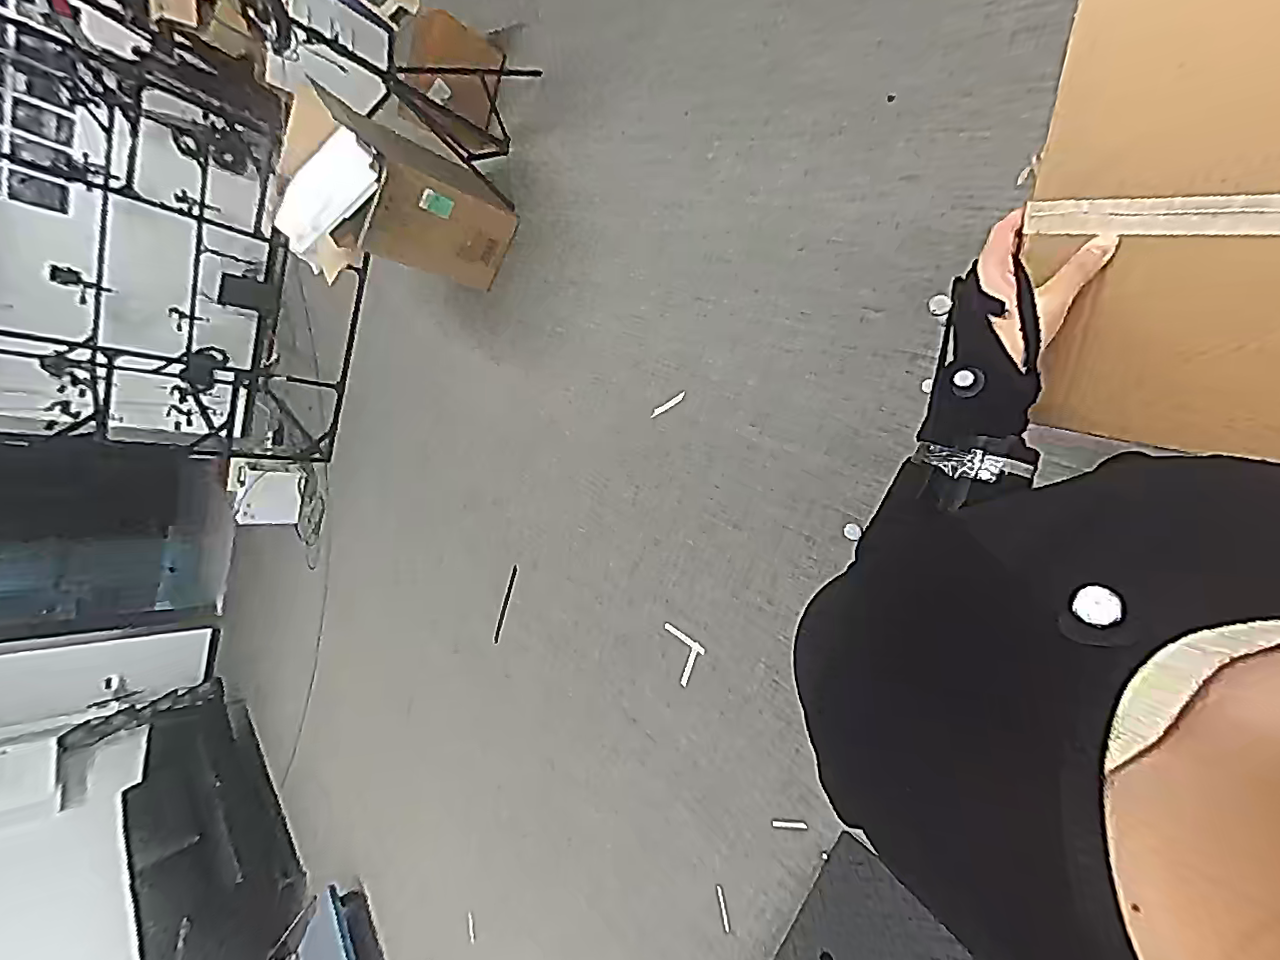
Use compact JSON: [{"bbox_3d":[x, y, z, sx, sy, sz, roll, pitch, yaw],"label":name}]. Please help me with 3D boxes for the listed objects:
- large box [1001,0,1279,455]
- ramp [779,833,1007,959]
[{"bbox_3d":[0.525,-0.207,0.341,0.408,0.320,0.320,21,135,40],"label":"large box"},{"bbox_3d":[0.502,1.447,1.298,0.509,0.206,0.991,27,105,41],"label":"ramp"}]
